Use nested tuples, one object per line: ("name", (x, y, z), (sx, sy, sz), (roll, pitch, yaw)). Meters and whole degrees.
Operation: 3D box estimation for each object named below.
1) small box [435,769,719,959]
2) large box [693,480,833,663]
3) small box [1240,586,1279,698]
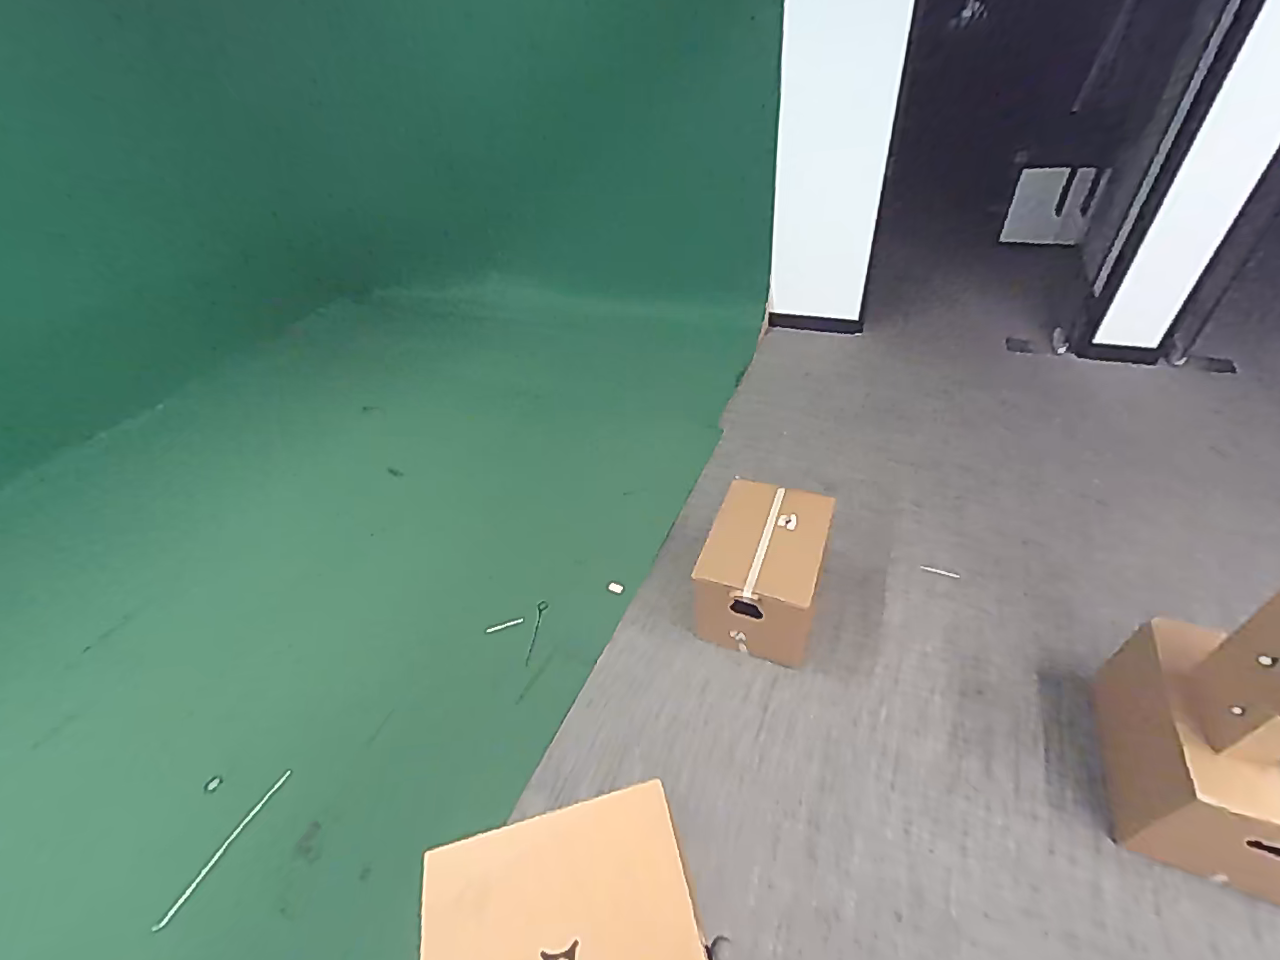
("small box", (-0.030, 0.337, 0.373), (0.168, 0.176, 0.179), (-15, 46, -4))
("large box", (0.373, 0.264, 1.613), (0.320, 0.320, 0.408), (12, 46, 22))
("small box", (1.152, 0.276, 0.870), (0.168, 0.176, 0.179), (5, 46, 16))
